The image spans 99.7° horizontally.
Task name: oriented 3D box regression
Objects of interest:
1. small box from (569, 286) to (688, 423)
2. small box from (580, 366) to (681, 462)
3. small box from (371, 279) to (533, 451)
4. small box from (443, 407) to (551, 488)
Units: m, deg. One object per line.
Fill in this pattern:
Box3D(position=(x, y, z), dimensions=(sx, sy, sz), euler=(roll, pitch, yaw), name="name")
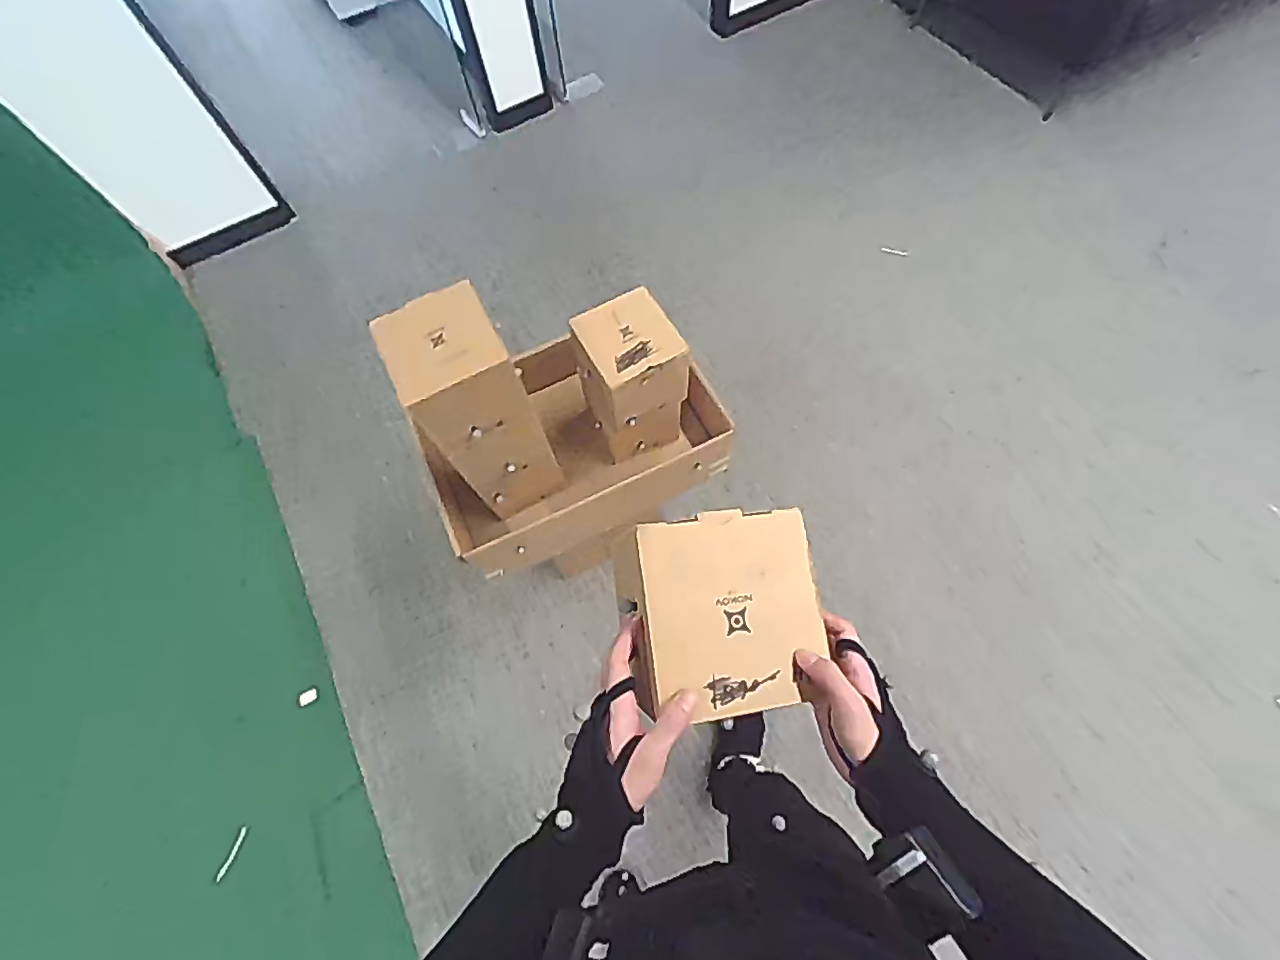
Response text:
Box3D(position=(-0.019, -0.234, 1.057), dimensions=(0.168, 0.176, 0.179), euler=(-27, 68, -9), name="small box")
Box3D(position=(-0.021, -0.170, 1.209), dimensions=(0.168, 0.176, 0.179), euler=(-23, 68, -7), name="small box")
Box3D(position=(-0.293, -0.178, 0.867), dimensions=(0.168, 0.176, 0.179), euler=(-27, 67, -8), name="small box")
Box3D(position=(-0.286, -0.114, 1.017), dimensions=(0.168, 0.176, 0.179), euler=(-27, 68, -8), name="small box")
